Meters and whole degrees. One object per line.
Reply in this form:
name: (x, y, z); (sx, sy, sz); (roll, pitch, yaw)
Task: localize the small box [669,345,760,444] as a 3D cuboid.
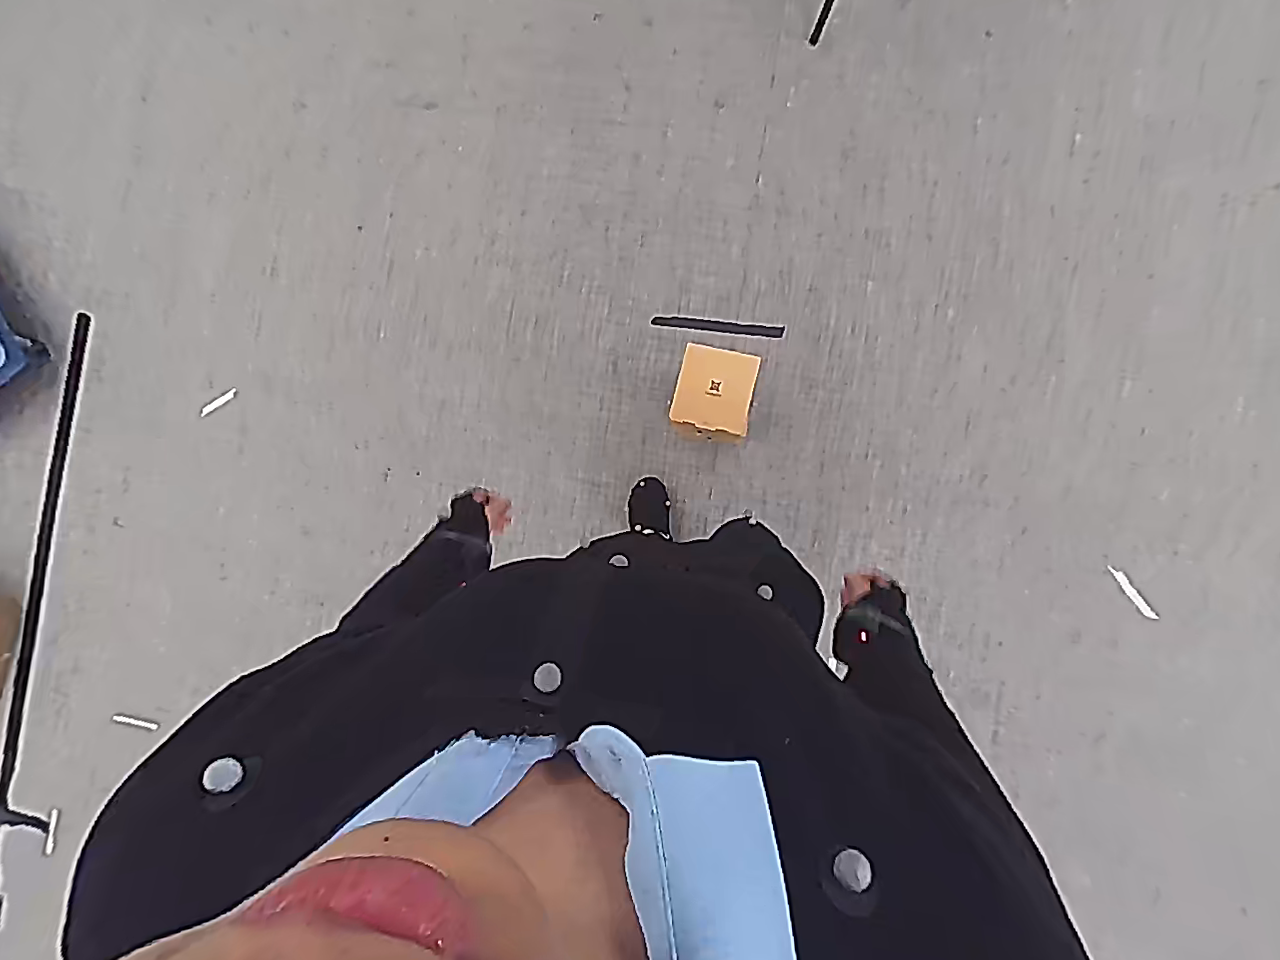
small box: (0.167, -0.189, 1.245); (0.168, 0.176, 0.179); (14, 90, 7)
